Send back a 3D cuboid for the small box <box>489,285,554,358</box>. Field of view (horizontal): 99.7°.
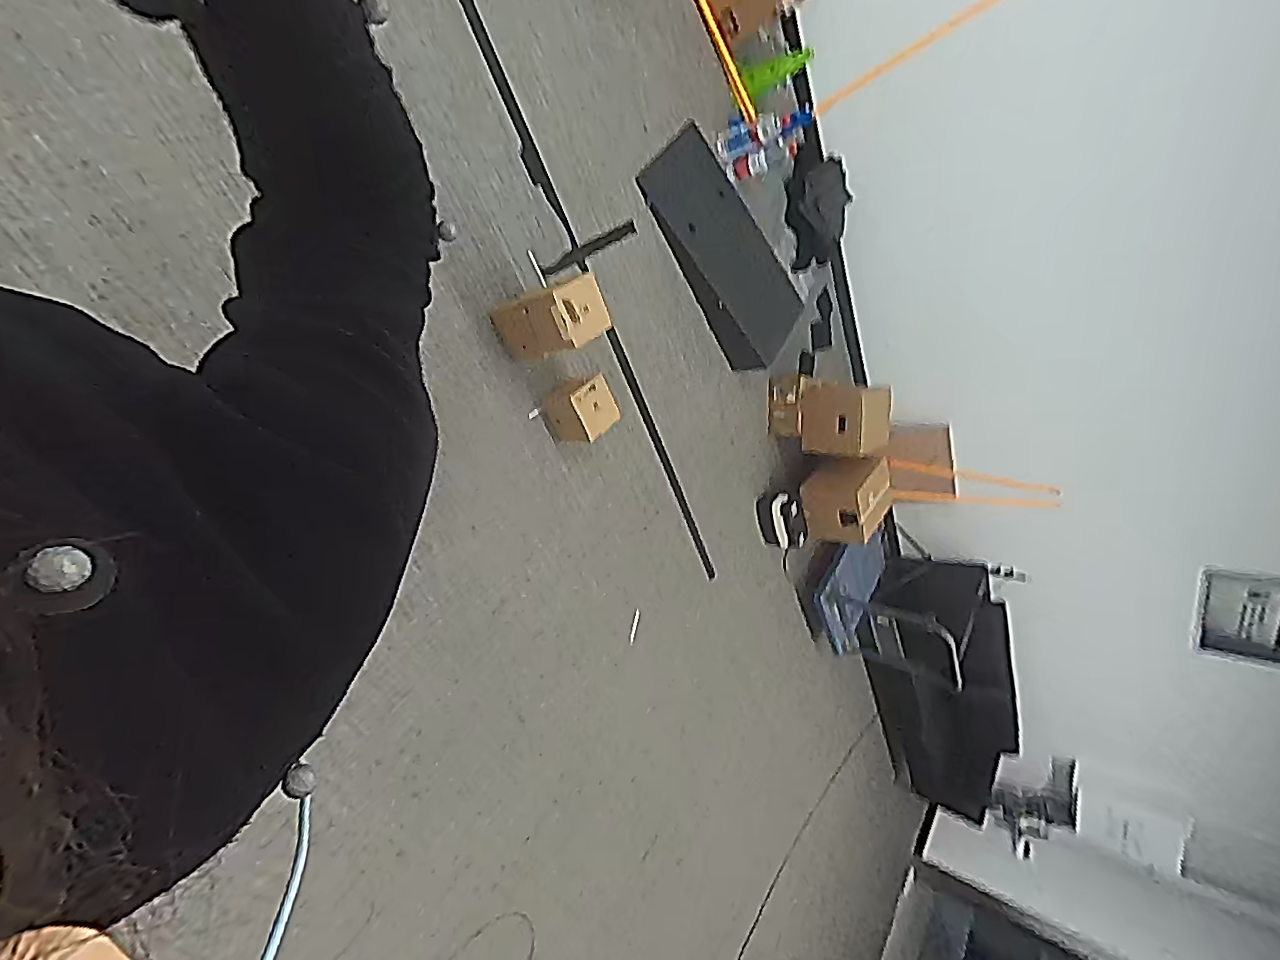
[{"bbox_3d":[-0.338,-0.498,1.703,0.168,0.176,0.179,-46,125,-33],"label":"small box"}]

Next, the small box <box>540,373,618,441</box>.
[{"bbox_3d":[-0.210,-0.253,1.864,0.168,0.176,0.179,-45,125,-34],"label":"small box"}]

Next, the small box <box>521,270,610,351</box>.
[{"bbox_3d":[-0.225,-0.492,1.585,0.179,0.176,0.168,-44,125,-36],"label":"small box"}]
